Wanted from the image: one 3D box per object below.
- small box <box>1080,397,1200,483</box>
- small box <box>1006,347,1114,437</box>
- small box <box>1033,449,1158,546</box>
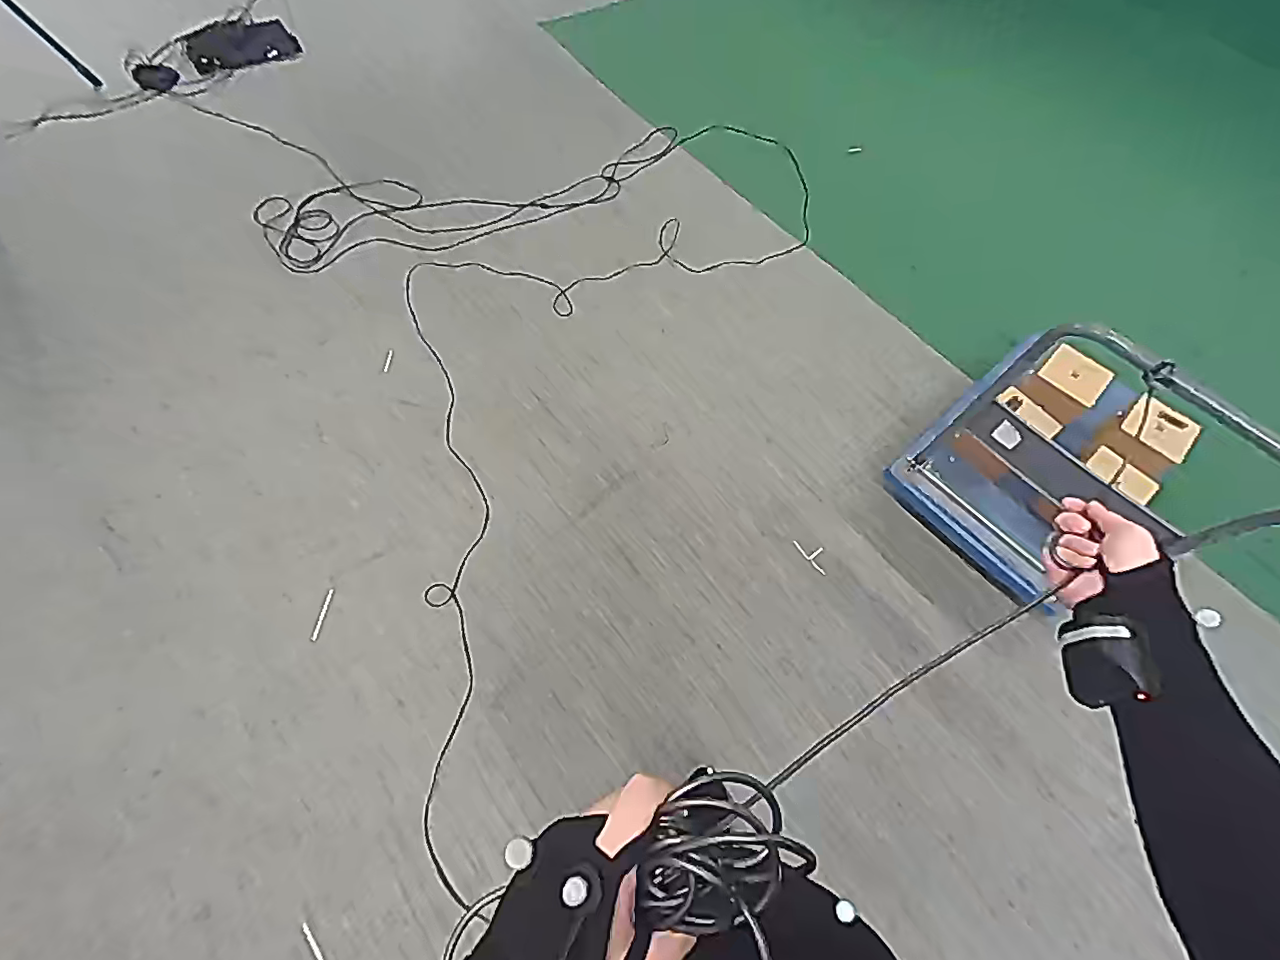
[{"bbox_3d":[1.445,-0.100,1.574,0.179,0.176,0.168,-41,71,-19],"label":"small box"},{"bbox_3d":[1.268,-0.263,1.649,0.179,0.176,0.168,-40,72,-20],"label":"small box"},{"bbox_3d":[1.240,0.053,1.488,0.179,0.176,0.168,-36,70,-18],"label":"small box"}]
